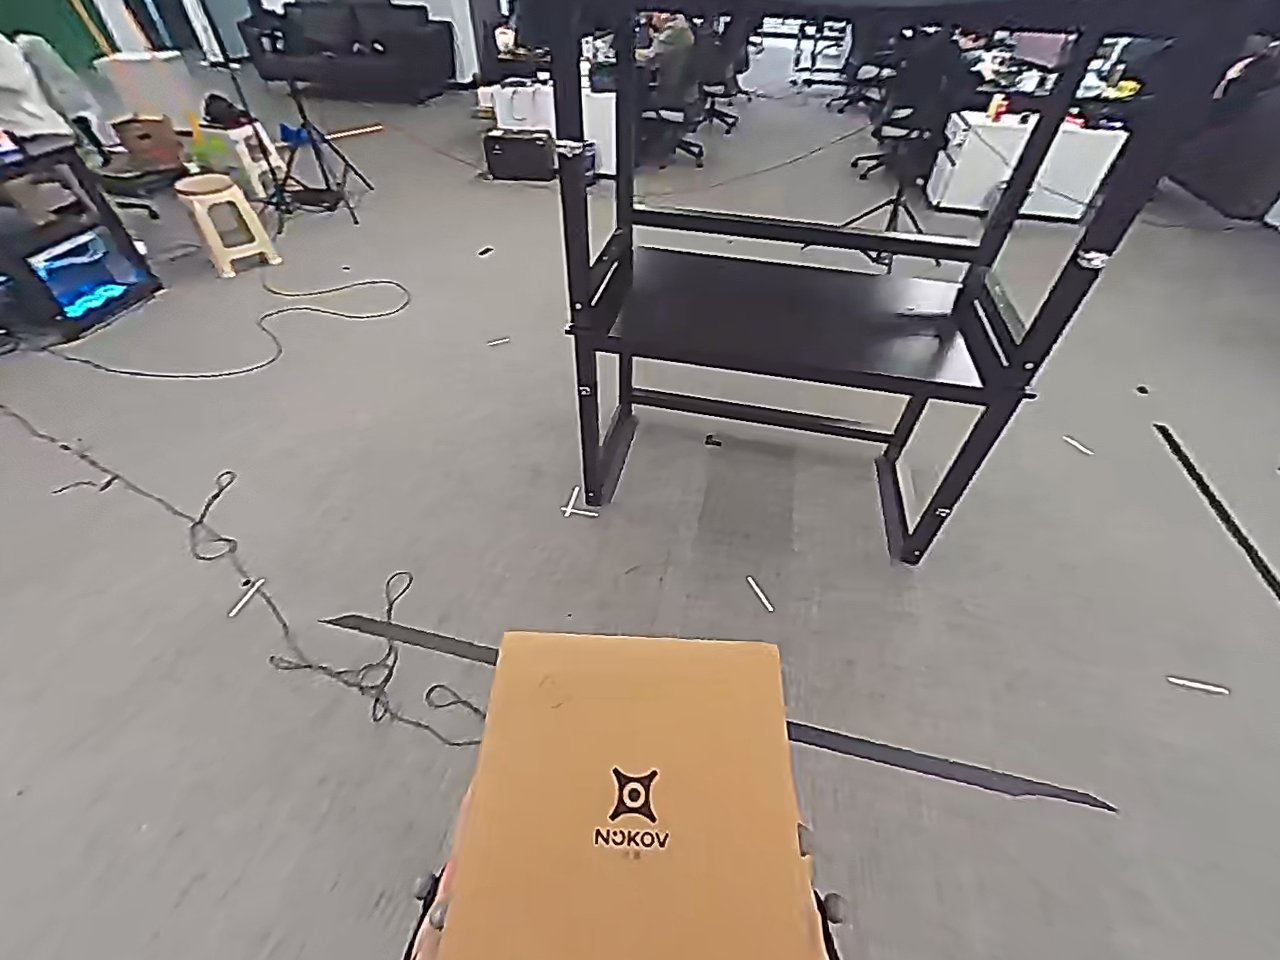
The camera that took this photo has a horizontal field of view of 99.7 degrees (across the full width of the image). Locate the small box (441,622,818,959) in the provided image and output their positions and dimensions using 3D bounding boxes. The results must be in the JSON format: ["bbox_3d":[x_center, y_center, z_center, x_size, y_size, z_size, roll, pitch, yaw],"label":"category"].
[{"bbox_3d":[-0.003,0.206,0.333,0.168,0.176,0.179,2,54,1],"label":"small box"}]
